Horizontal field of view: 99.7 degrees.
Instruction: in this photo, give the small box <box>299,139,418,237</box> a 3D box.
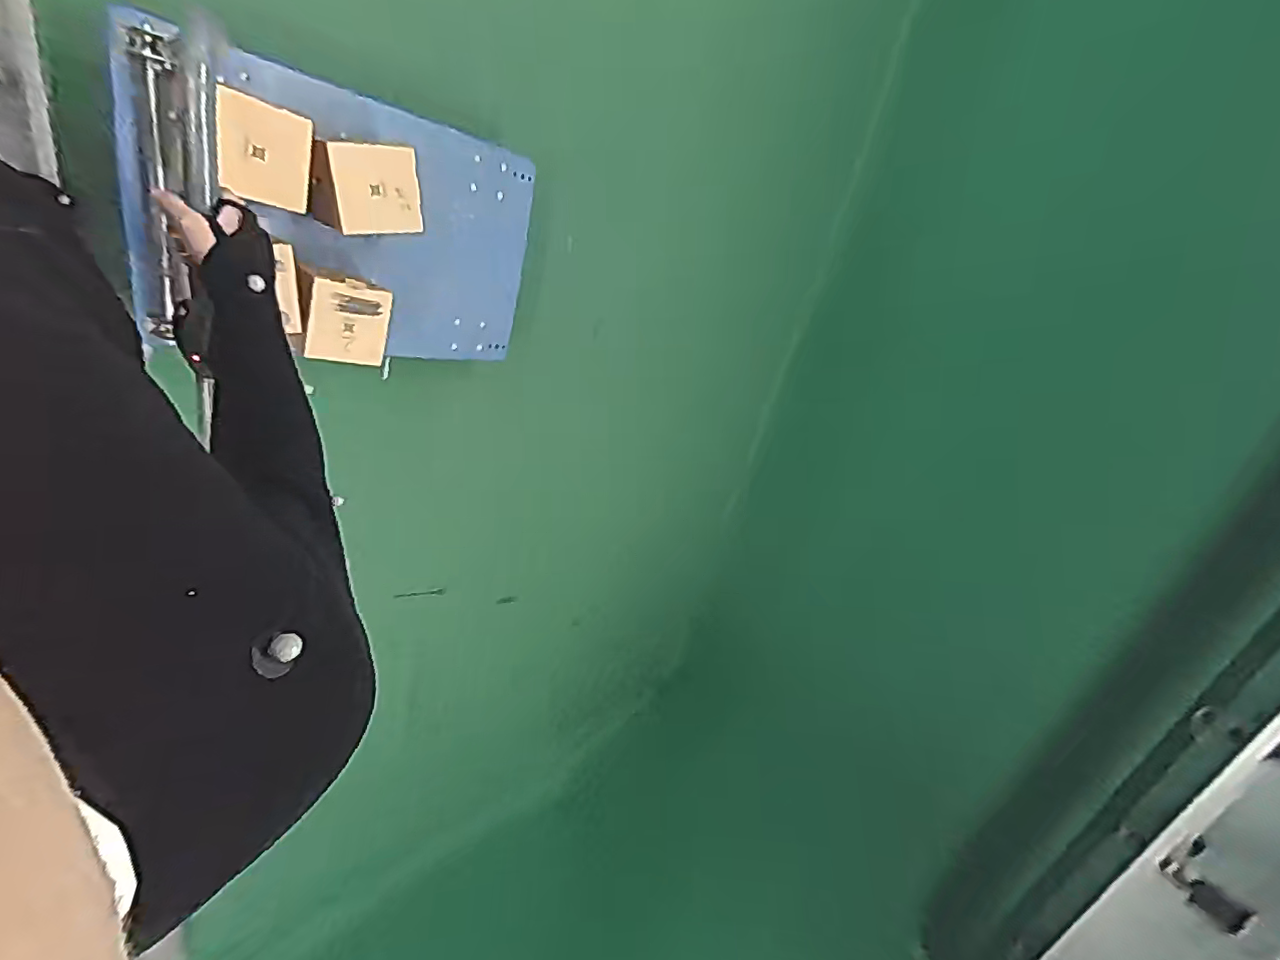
[{"bbox_3d":[-0.606,-0.626,1.163,0.179,0.176,0.168,-24,134,-40],"label":"small box"}]
